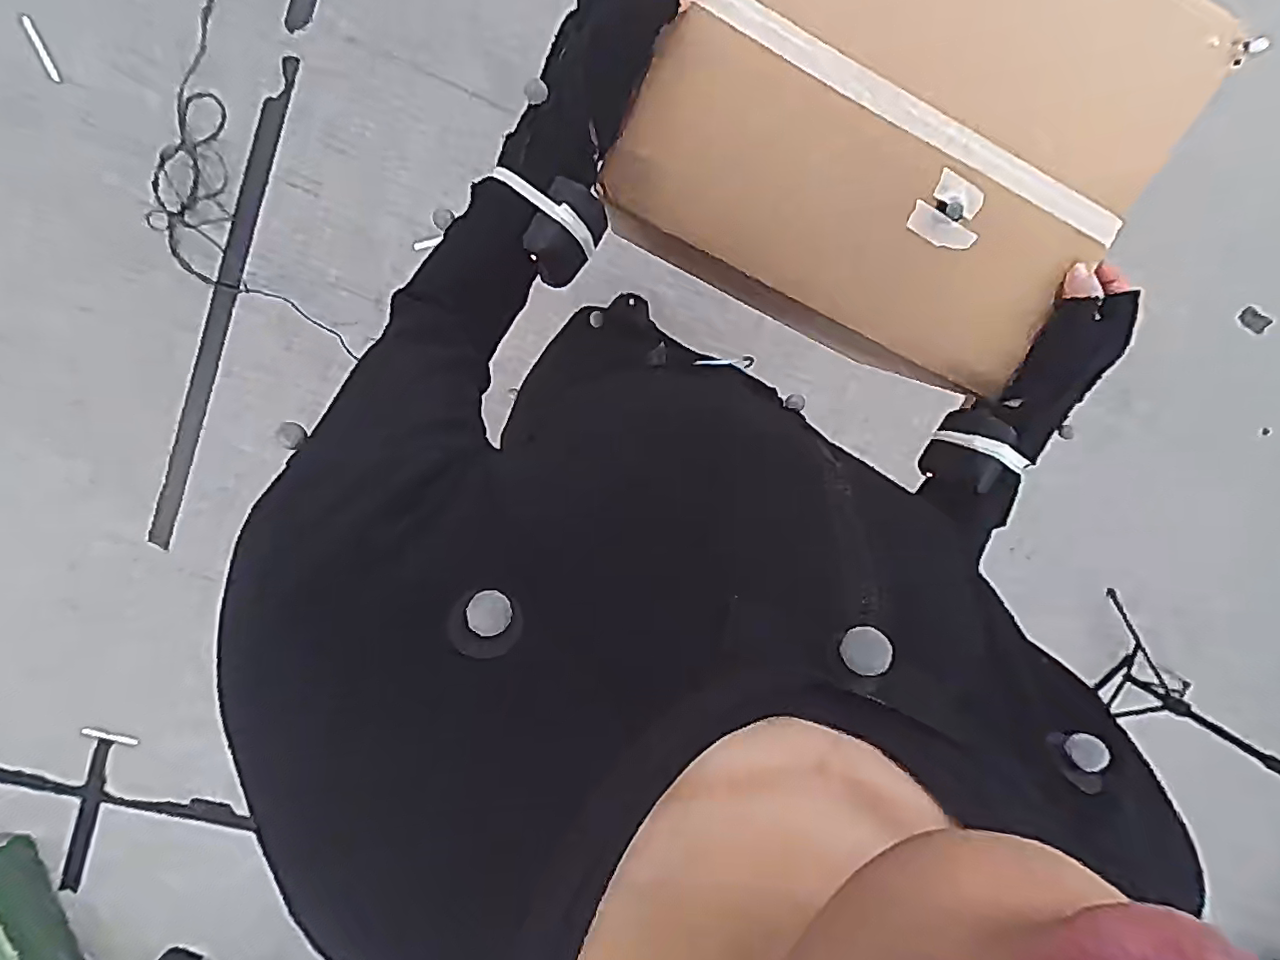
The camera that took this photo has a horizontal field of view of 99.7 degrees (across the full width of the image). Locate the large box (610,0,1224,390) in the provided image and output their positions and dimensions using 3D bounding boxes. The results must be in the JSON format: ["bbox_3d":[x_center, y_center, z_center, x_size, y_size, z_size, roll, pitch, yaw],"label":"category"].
[{"bbox_3d":[0.211,-0.340,0.575,0.408,0.320,0.320,25,108,-9],"label":"large box"}]
